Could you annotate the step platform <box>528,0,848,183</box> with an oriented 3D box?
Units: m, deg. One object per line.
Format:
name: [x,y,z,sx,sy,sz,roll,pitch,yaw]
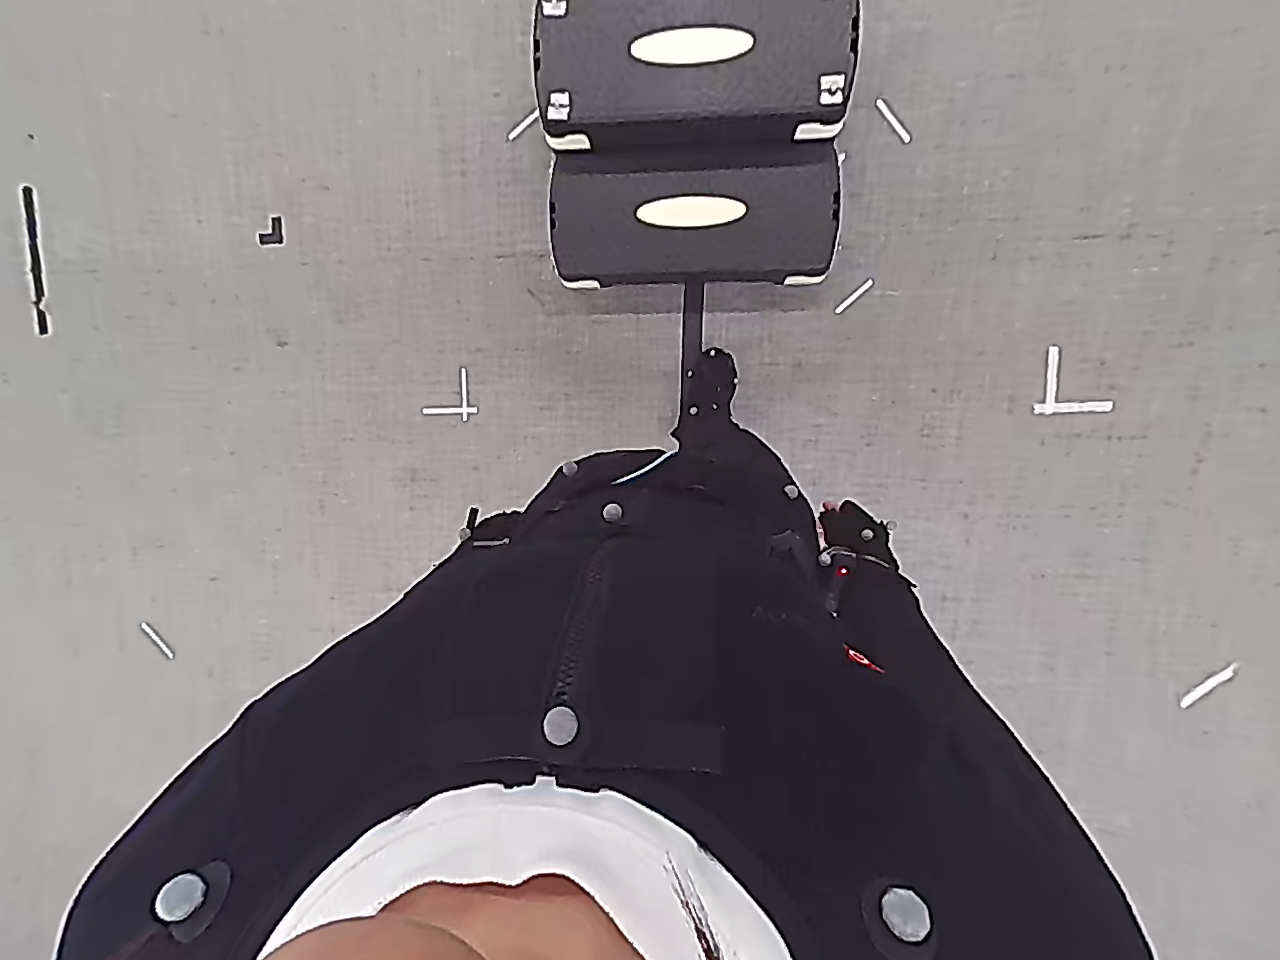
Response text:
step platform: [0.098,-0.866,1.207,0.684,0.204,0.286,0,98,5]
